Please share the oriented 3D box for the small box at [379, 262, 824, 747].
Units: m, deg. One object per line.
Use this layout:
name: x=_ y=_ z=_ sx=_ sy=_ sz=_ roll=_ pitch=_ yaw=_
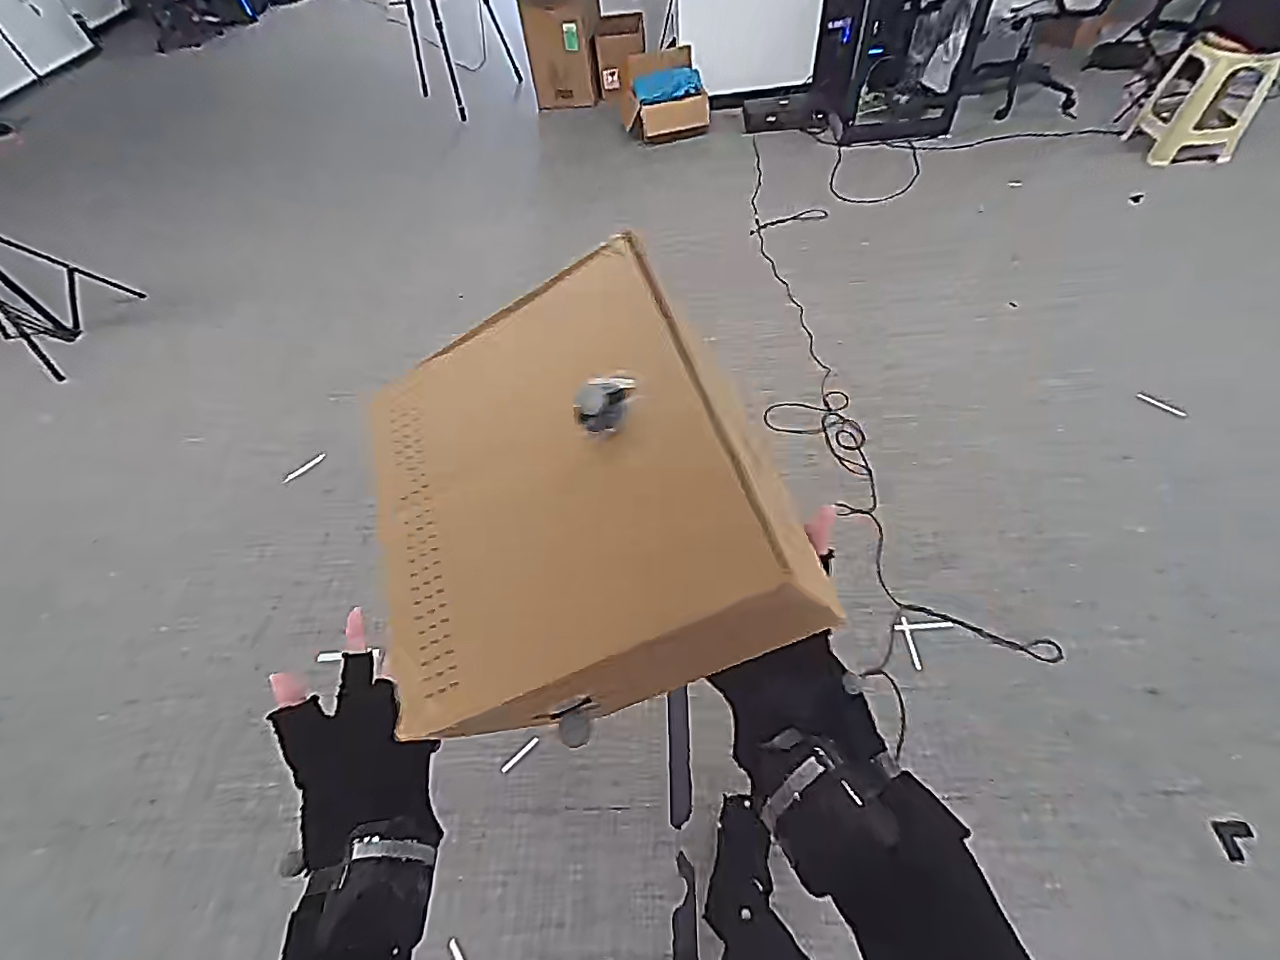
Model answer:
small box: x=-0.022 y=0.026 z=0.308 sx=0.176 sy=0.168 sz=0.179 roll=-28 pitch=62 yaw=16
